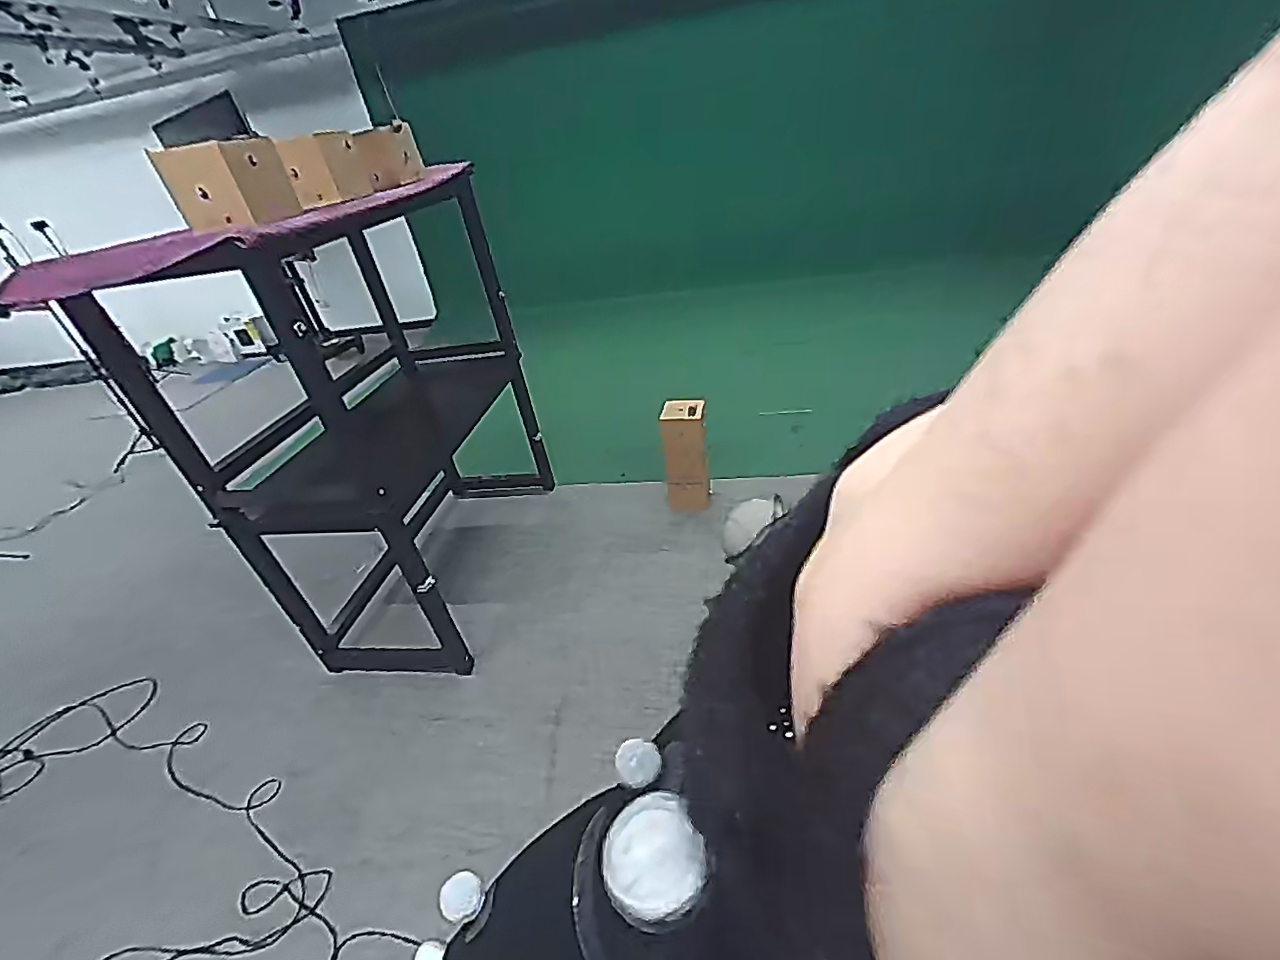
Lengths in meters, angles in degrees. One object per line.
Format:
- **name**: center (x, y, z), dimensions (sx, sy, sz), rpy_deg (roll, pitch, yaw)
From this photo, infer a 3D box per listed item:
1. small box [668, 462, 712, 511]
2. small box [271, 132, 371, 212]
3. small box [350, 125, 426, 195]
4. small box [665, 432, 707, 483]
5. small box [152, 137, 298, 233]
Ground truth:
- **small box**: center (0.237, 0.031, 2.525), dimensions (0.179, 0.176, 0.168), rpy_deg (0, 35, 14)
- **small box**: center (-0.908, -0.875, 1.542), dimensions (0.168, 0.176, 0.179), rpy_deg (-4, 33, 12)
- **small box**: center (-0.865, -1.084, 1.835), dimensions (0.179, 0.176, 0.168), rpy_deg (0, 36, 18)
- **small box**: center (0.211, -0.097, 2.429), dimensions (0.168, 0.176, 0.179), rpy_deg (0, 35, 12)
- **small box**: center (-0.935, -0.673, 1.242), dimensions (0.168, 0.176, 0.179), rpy_deg (-2, 34, 10)
